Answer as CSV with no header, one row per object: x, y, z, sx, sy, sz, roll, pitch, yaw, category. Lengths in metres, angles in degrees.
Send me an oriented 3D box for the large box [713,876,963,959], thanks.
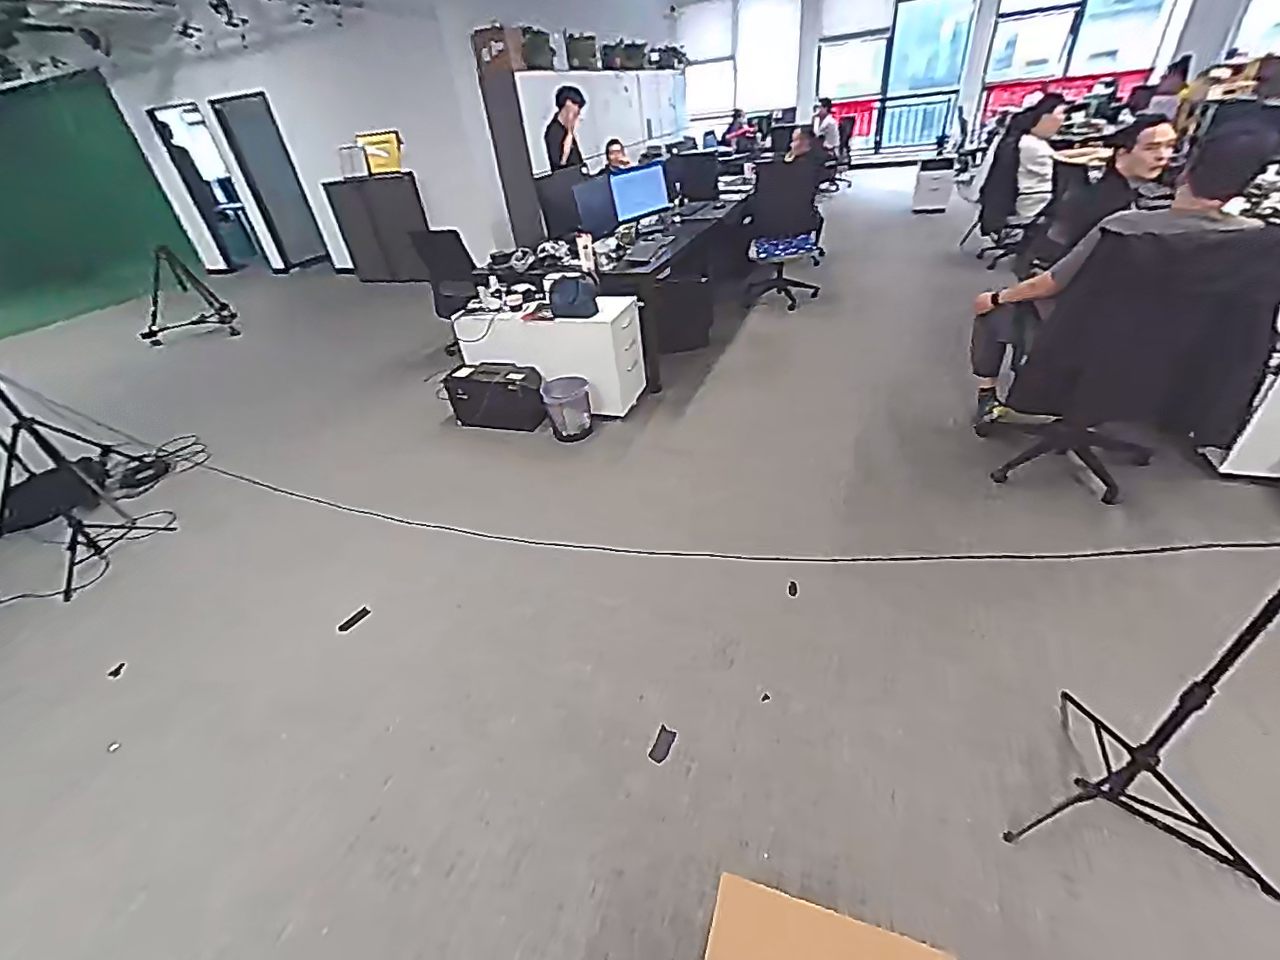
0.318,0.983,0.939,0.408,0.320,0.320,8,38,19,large box
